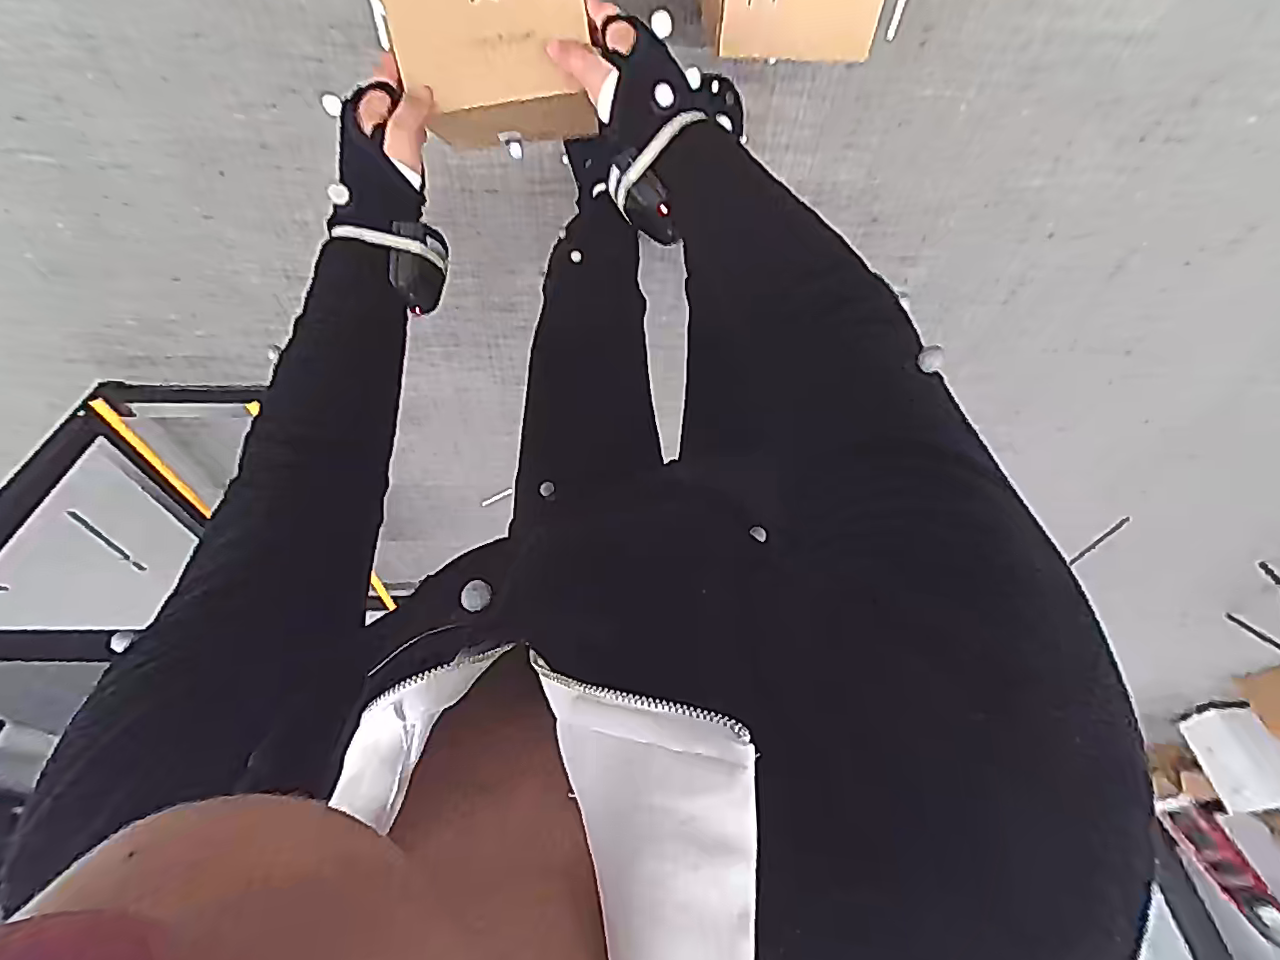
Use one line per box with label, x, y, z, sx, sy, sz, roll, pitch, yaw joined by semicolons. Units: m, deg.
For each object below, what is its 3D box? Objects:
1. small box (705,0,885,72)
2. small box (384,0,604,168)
small box;0.173;-0.586;0.608;0.179;0.176;0.168;0;141;-3
small box;-0.129;-0.418;0.509;0.168;0.176;0.179;-9;110;0
